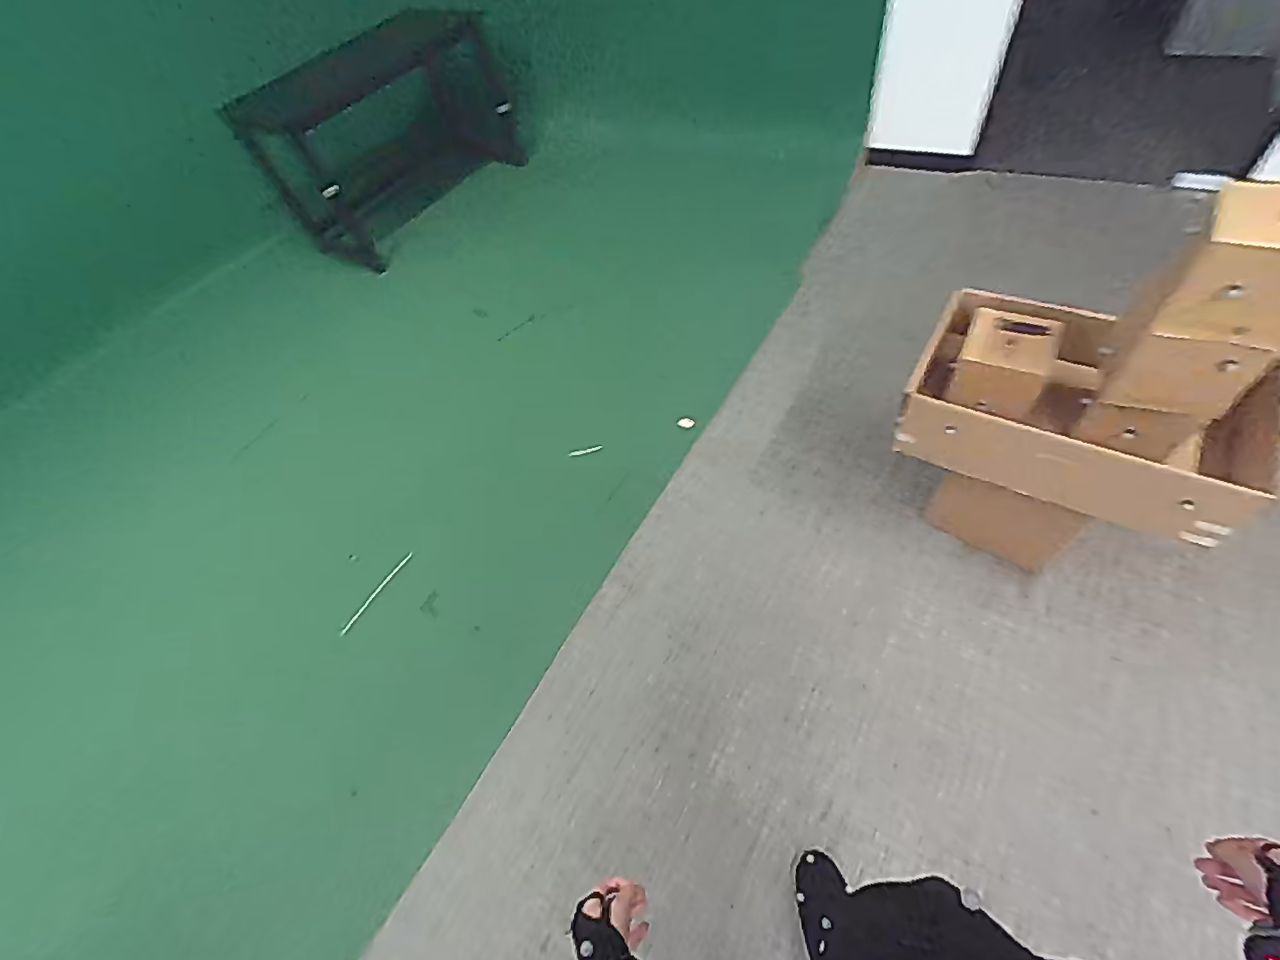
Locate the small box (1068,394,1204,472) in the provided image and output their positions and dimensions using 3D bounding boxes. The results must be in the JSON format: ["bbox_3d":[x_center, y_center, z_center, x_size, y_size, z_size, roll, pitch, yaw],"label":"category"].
[{"bbox_3d":[1.029,-0.147,1.113,0.168,0.176,0.179,33,68,30],"label":"small box"}]

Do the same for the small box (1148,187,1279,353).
[{"bbox_3d":[0.952,-0.328,0.851,0.168,0.176,0.179,23,62,27],"label":"small box"}]

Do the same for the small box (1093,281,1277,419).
[{"bbox_3d":[0.970,-0.233,0.981,0.179,0.176,0.168,15,58,23],"label":"small box"}]
